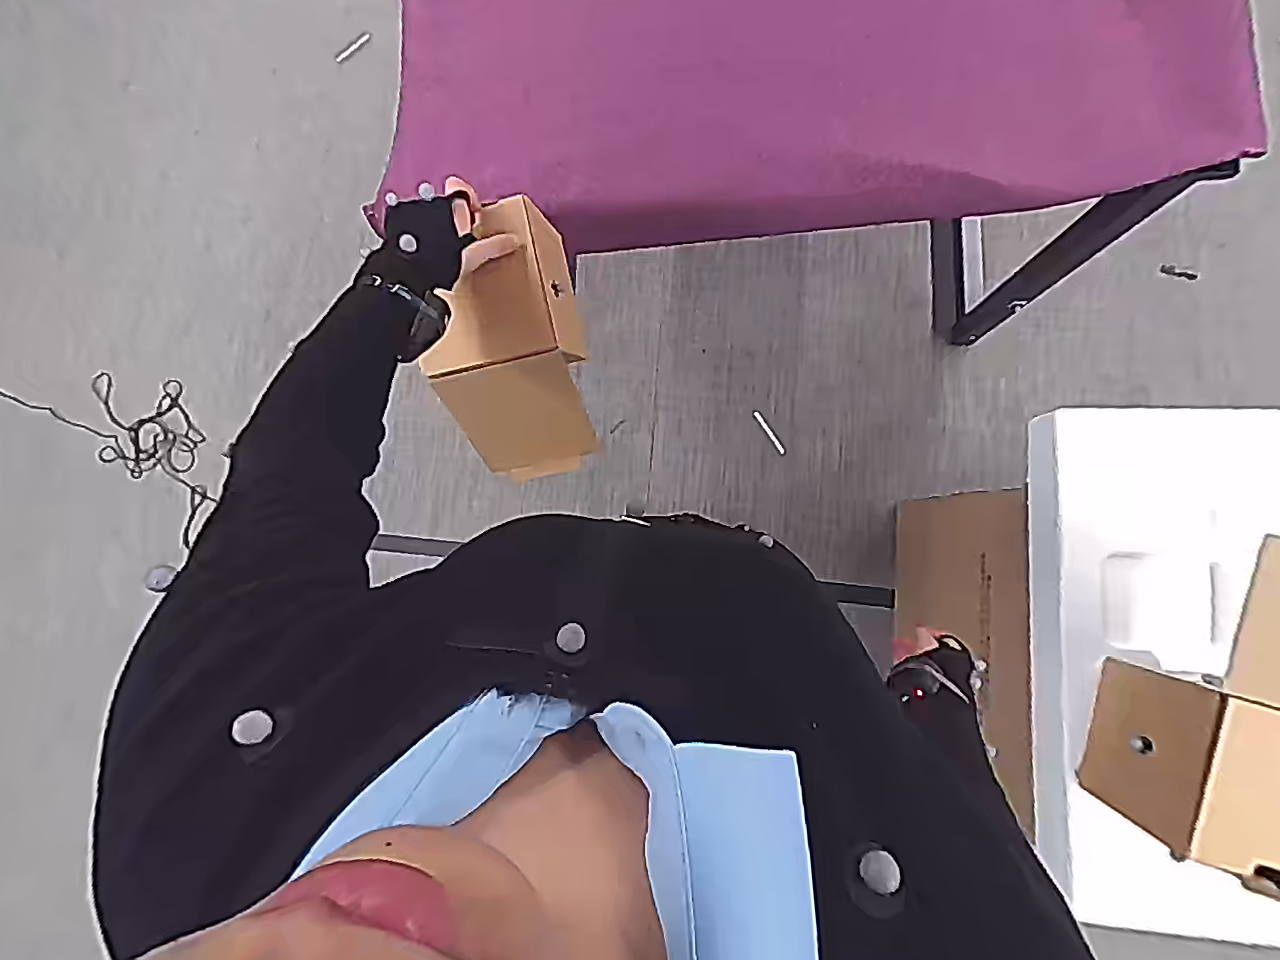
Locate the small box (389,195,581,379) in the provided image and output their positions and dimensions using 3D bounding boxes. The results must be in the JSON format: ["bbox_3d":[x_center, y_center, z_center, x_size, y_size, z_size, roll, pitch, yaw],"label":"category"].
[{"bbox_3d":[-0.184,-0.231,0.698,0.168,0.176,0.179,-11,97,7],"label":"small box"}]
